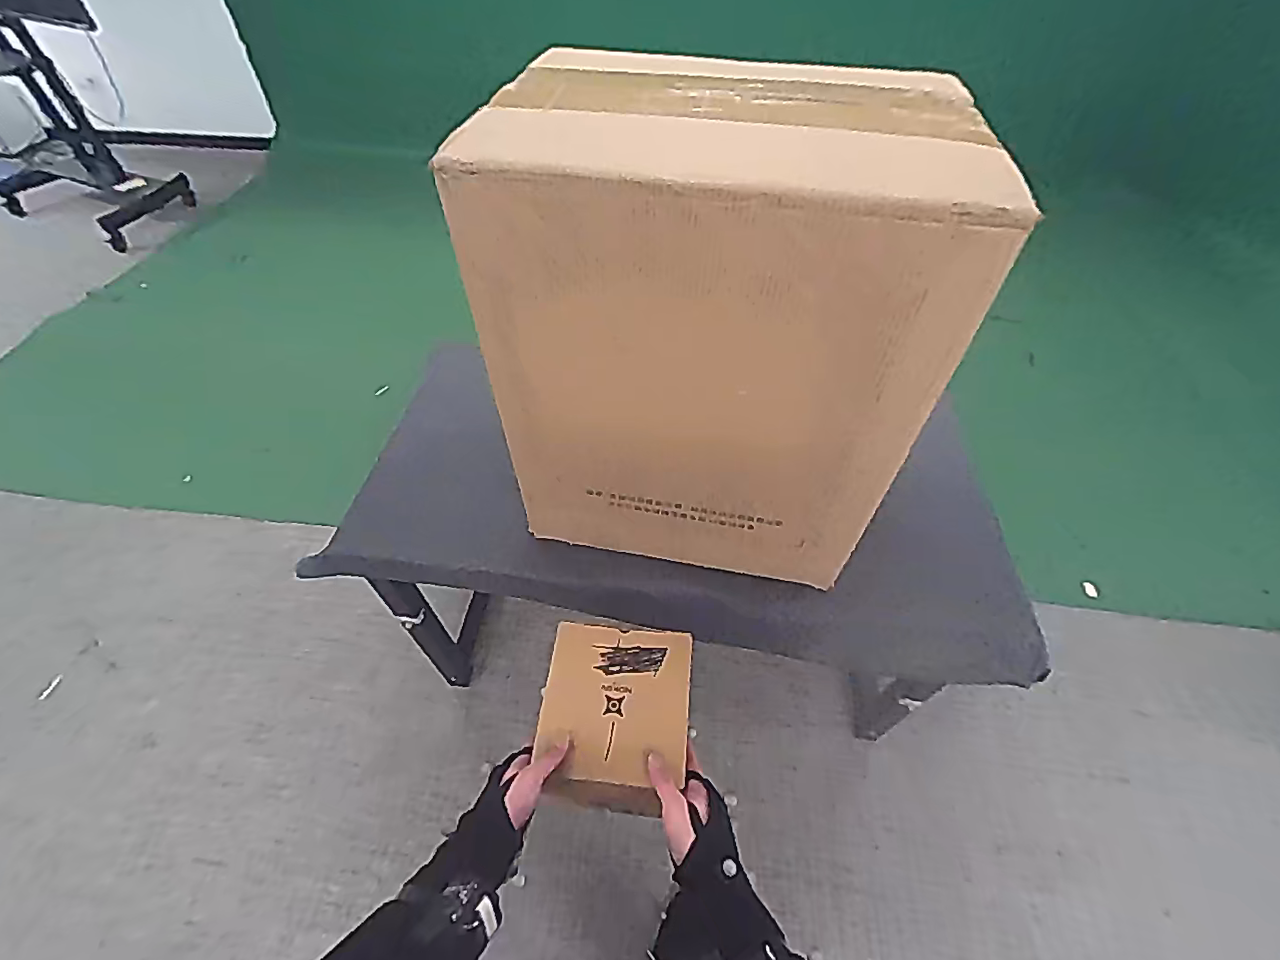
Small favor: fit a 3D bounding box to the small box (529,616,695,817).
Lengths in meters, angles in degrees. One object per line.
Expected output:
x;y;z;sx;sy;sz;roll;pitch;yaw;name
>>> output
-0.027;0.295;0.672;0.168;0.176;0.179;6;50;5;small box
